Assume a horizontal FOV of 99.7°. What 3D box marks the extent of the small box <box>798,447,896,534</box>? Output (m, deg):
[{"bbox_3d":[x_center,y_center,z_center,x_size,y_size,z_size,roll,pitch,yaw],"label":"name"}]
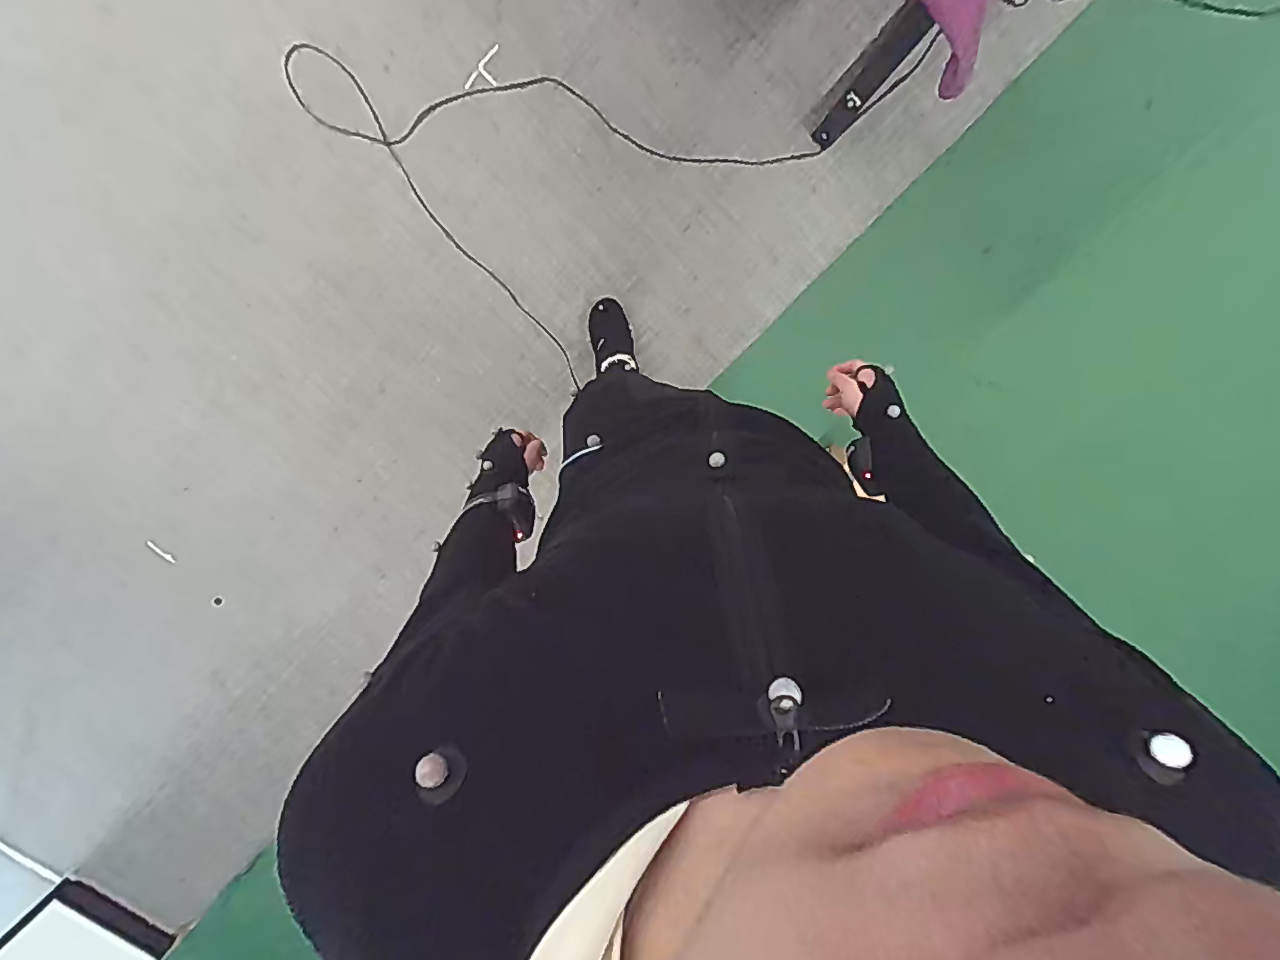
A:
[{"bbox_3d":[0.583,0.021,1.551,0.179,0.176,0.168,41,101,-10],"label":"small box"}]
